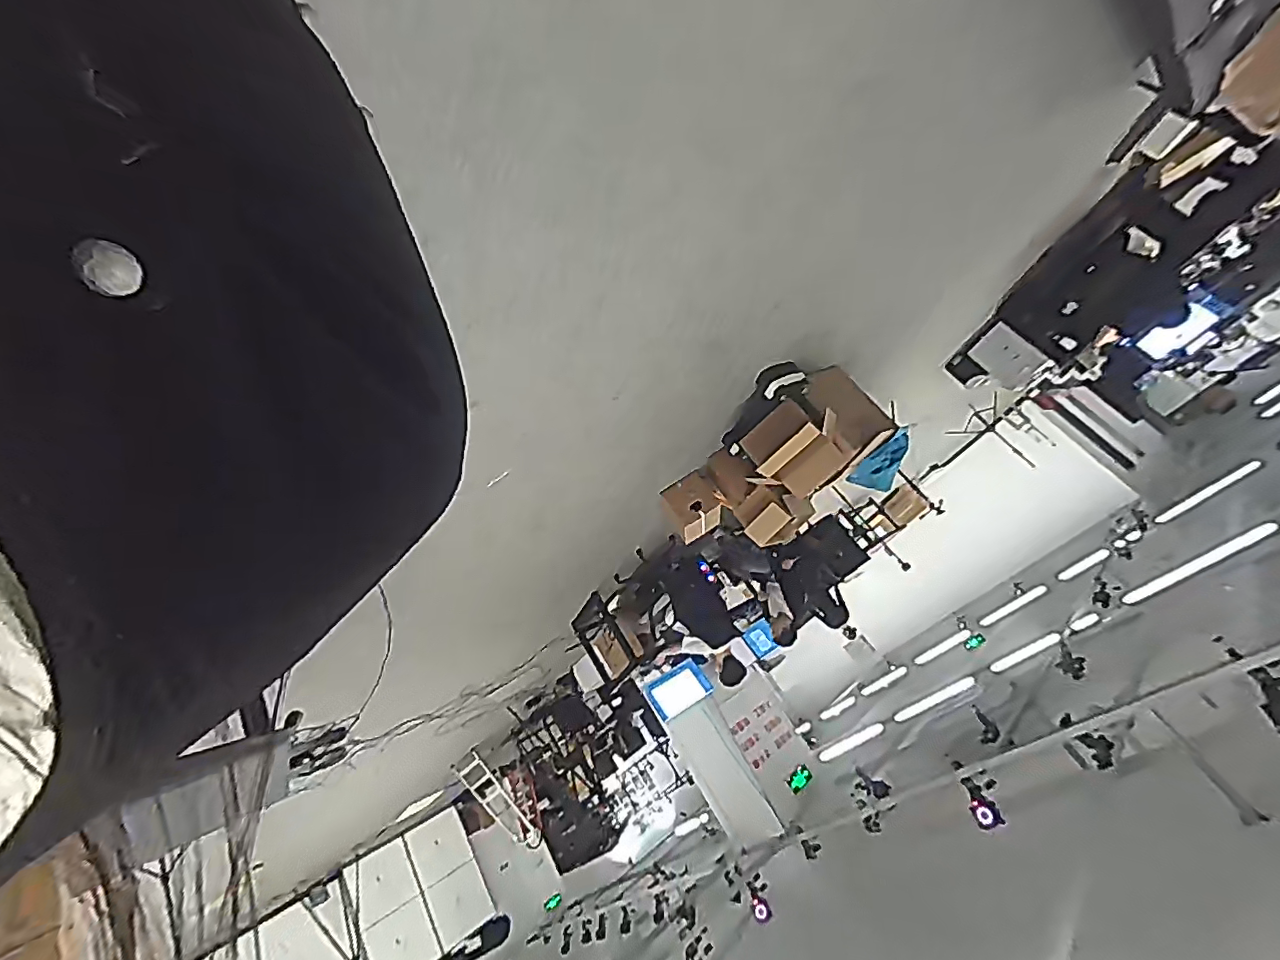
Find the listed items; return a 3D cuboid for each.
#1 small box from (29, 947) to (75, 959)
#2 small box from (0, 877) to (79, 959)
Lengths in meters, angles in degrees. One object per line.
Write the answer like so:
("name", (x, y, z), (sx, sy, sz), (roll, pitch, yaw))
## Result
("small box", (-1.475, 1.263, 1.287), (0.168, 0.176, 0.179), (-13, 146, -40))
("small box", (-1.557, 1.141, 1.354), (0.179, 0.176, 0.168), (-12, 146, -42))
